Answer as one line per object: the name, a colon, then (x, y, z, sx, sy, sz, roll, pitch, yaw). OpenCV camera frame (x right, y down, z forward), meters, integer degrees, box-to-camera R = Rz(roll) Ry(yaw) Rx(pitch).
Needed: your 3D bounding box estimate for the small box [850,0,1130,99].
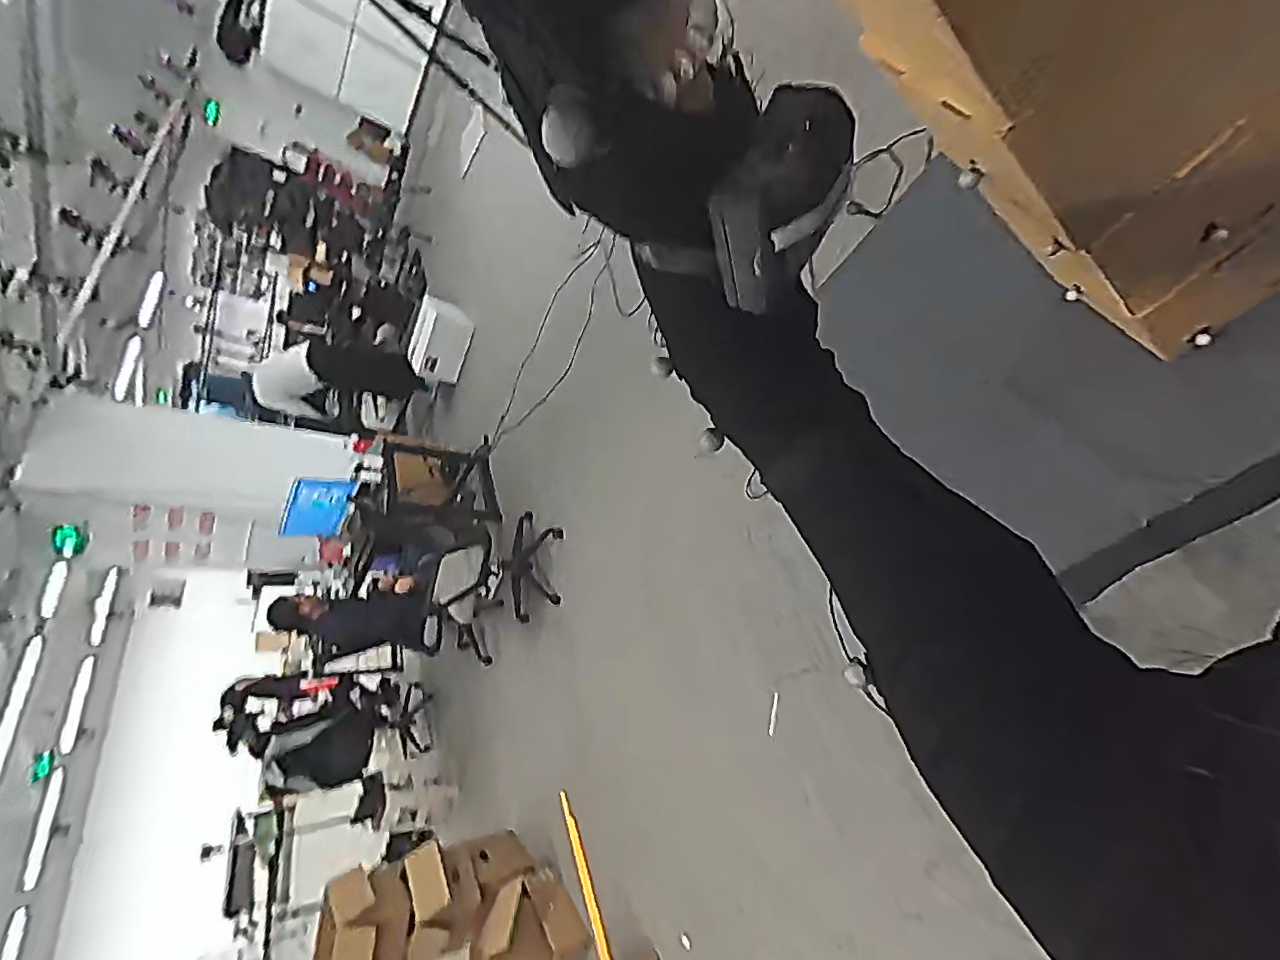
small box: (0.176, -0.338, 0.267, 0.168, 0.176, 0.179, -47, 48, 36)

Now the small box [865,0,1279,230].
small box: (0.302, -0.314, 0.367, 0.179, 0.176, 0.168, -49, 47, 35)

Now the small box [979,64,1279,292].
small box: (0.430, -0.294, 0.470, 0.168, 0.176, 0.179, -50, 47, 34)

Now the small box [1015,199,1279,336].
small box: (0.557, -0.274, 0.568, 0.168, 0.176, 0.179, -50, 46, 34)
